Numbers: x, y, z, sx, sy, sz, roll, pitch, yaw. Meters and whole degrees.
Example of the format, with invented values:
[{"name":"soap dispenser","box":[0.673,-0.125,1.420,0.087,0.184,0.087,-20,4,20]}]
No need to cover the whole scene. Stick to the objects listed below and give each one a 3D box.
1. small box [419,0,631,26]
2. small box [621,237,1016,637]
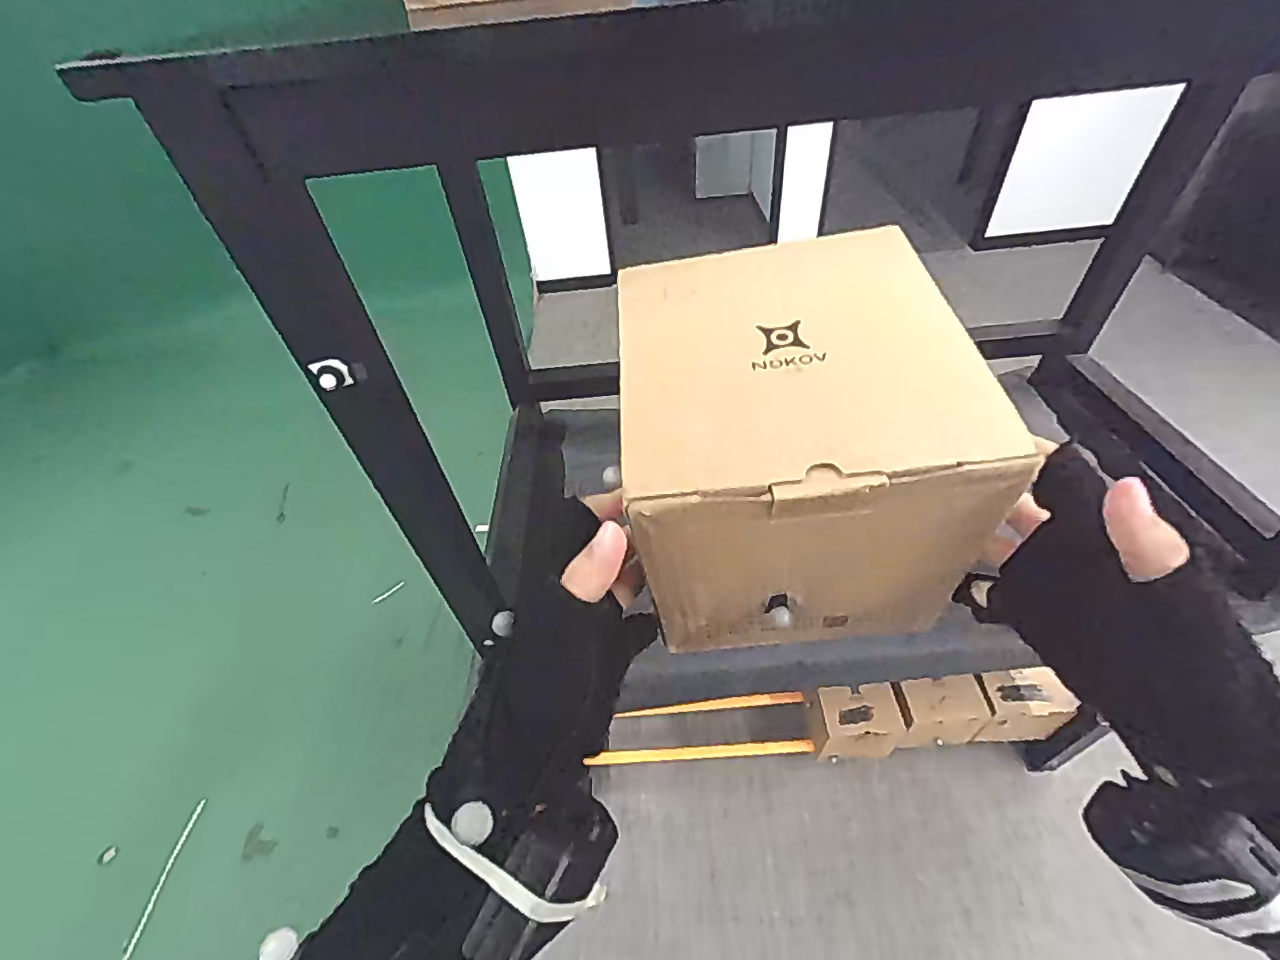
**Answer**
[{"name":"small box","box":[-0.098,-0.459,0.401,0.168,0.176,0.179,-8,46,0]},{"name":"small box","box":[0.081,-0.020,0.340,0.168,0.176,0.179,-7,53,5]}]
